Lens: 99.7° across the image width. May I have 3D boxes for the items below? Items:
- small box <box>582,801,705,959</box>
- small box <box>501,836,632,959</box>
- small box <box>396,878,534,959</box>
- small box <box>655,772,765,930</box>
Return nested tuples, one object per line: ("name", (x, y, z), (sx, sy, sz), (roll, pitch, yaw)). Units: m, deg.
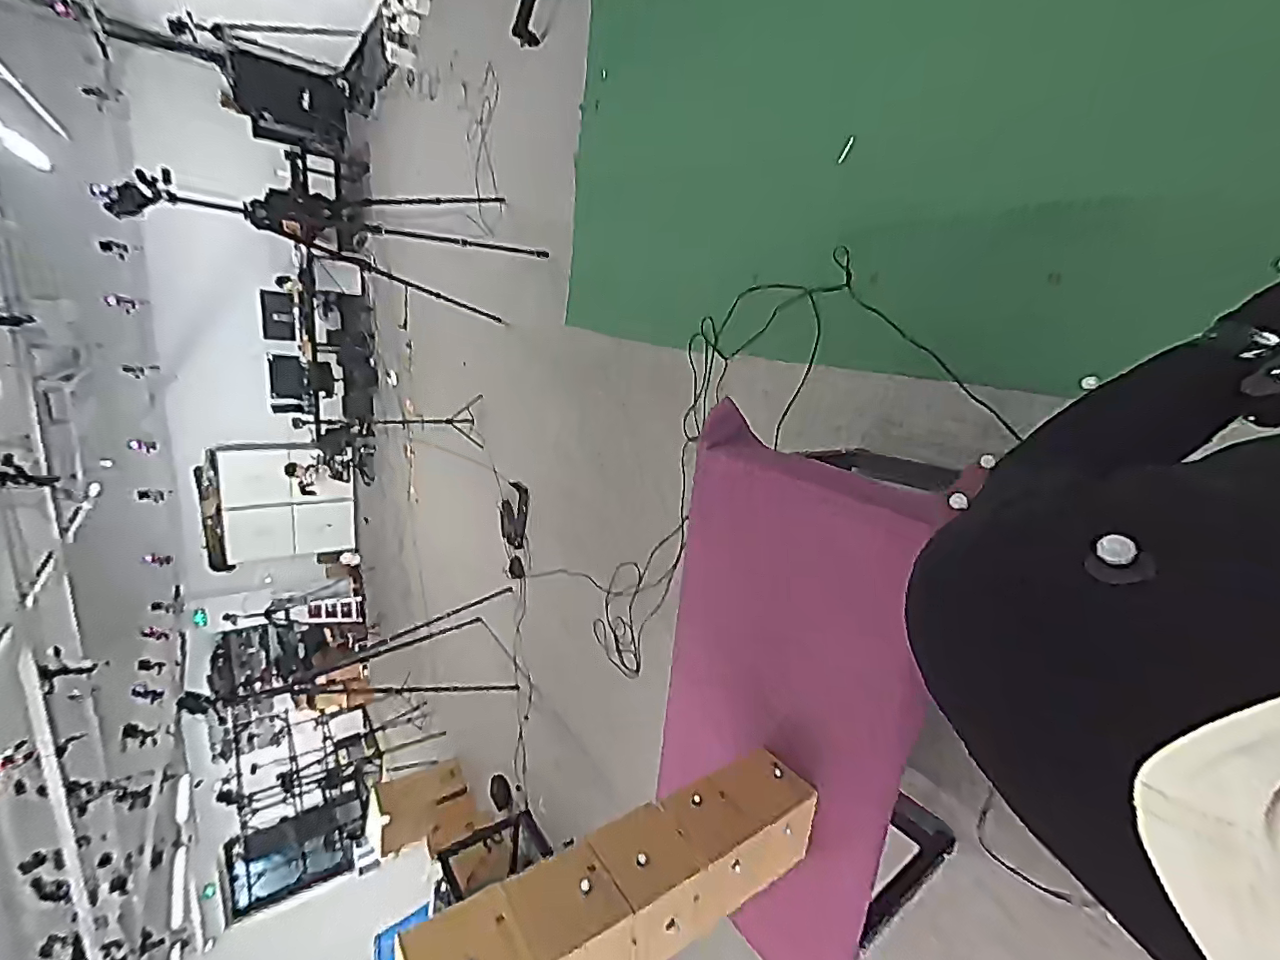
("small box", (0.001, 0.753, 1.018), (0.179, 0.176, 0.168), (22, 110, 50))
("small box", (-0.129, 0.763, 0.918), (0.168, 0.176, 0.179), (22, 110, 51))
("small box", (-0.261, 0.768, 0.824), (0.168, 0.176, 0.179), (22, 111, 51))
("small box", (0.135, 0.744, 1.110), (0.168, 0.176, 0.179), (24, 113, 50))
